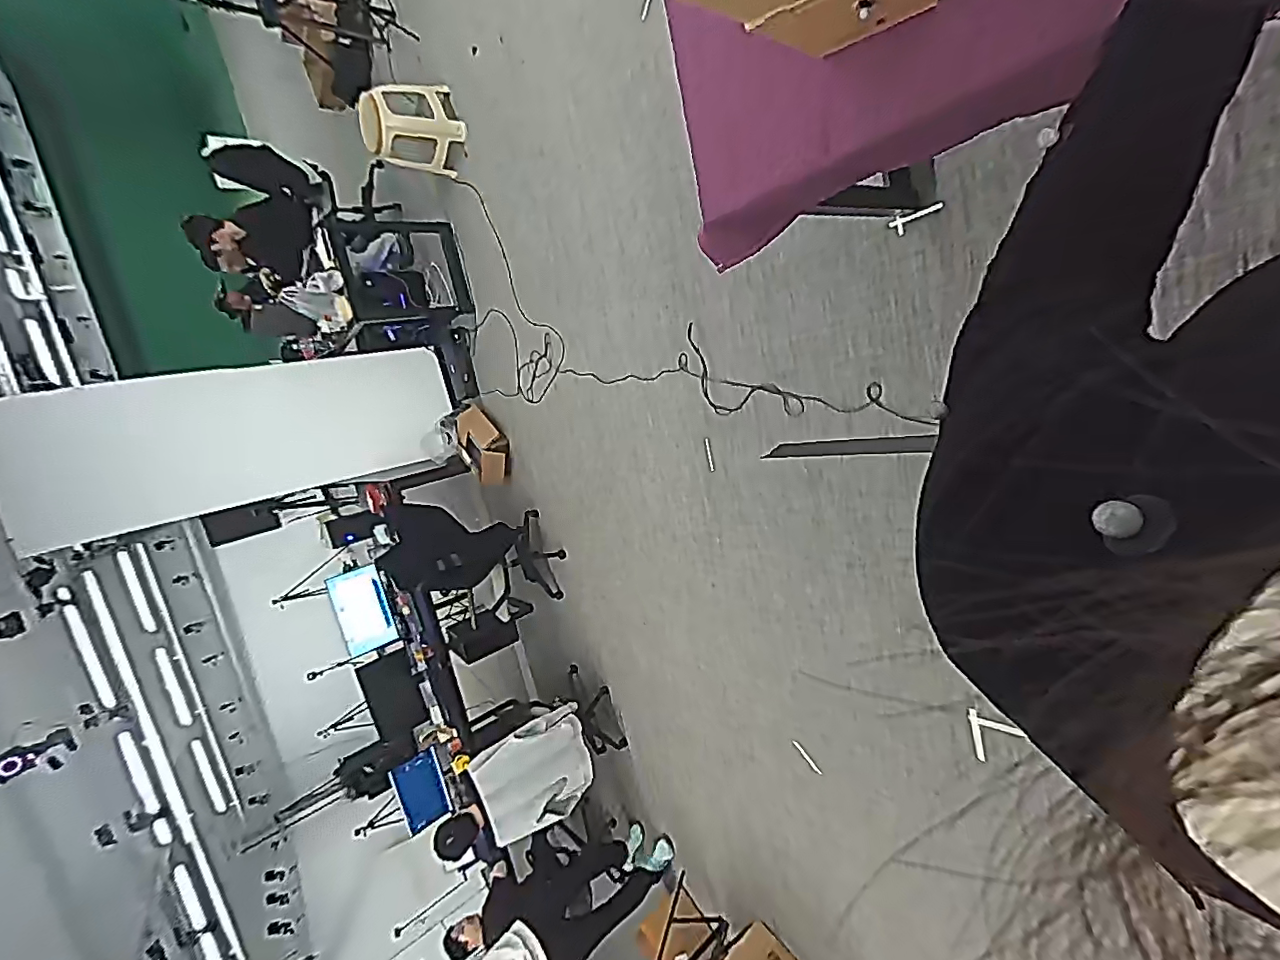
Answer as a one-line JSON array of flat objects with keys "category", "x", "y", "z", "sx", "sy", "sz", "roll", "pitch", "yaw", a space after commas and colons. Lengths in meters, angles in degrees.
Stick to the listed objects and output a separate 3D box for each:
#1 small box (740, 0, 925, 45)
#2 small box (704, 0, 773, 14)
[{"category": "small box", "x": 0.232, "y": -0.645, "z": 0.630, "sx": 0.168, "sy": 0.176, "sz": 0.179, "roll": 17, "pitch": 118, "yaw": 47}, {"category": "small box", "x": 0.110, "y": -0.601, "z": 0.529, "sx": 0.179, "sy": 0.176, "sz": 0.168, "roll": 18, "pitch": 120, "yaw": 47}]
